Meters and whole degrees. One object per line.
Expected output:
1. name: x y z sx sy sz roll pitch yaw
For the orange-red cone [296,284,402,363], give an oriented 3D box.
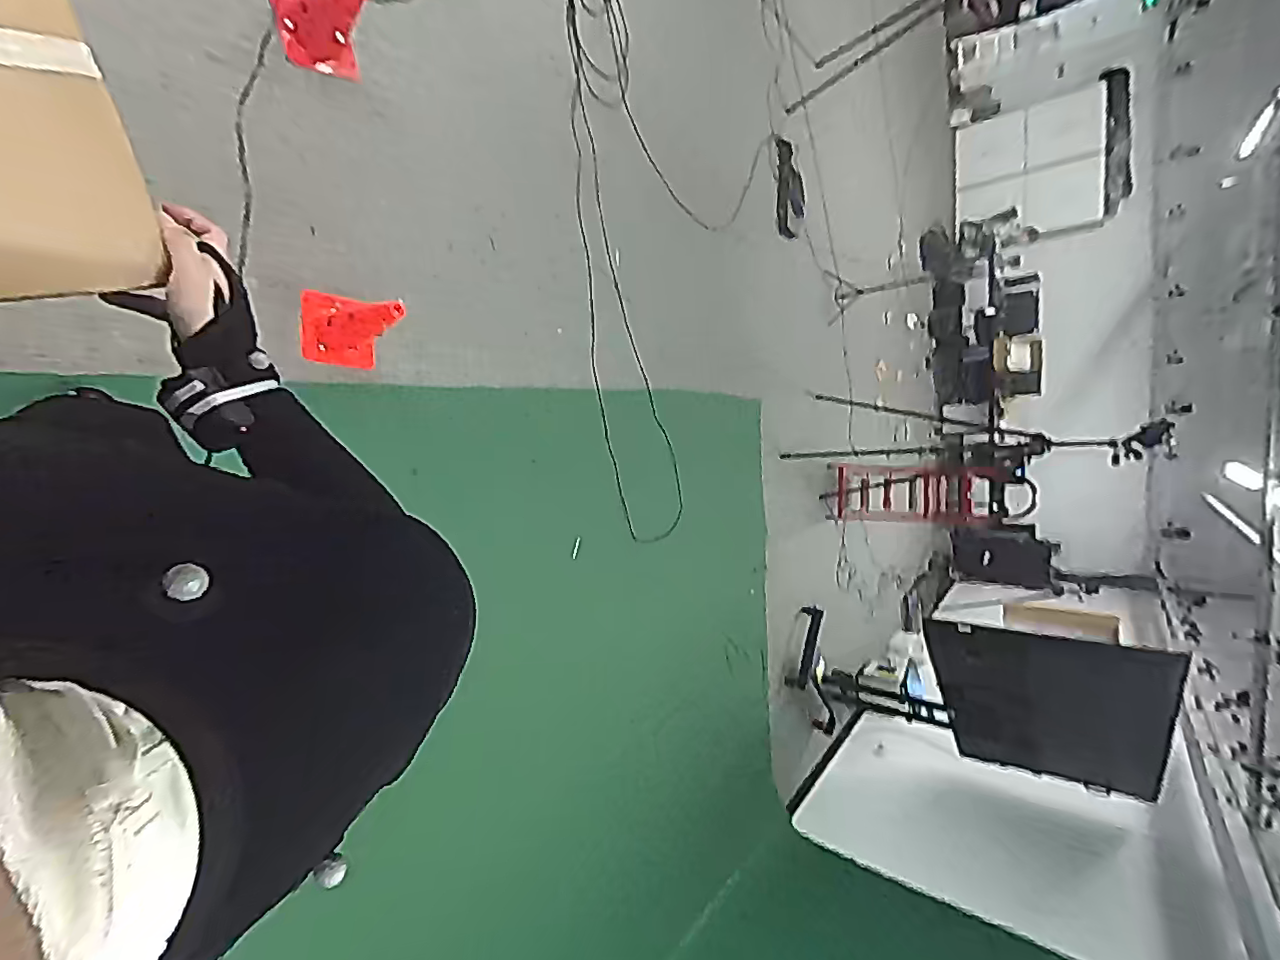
1. orange-red cone: -0.750 -0.445 1.465 0.199 0.360 0.198 1 91 -53
